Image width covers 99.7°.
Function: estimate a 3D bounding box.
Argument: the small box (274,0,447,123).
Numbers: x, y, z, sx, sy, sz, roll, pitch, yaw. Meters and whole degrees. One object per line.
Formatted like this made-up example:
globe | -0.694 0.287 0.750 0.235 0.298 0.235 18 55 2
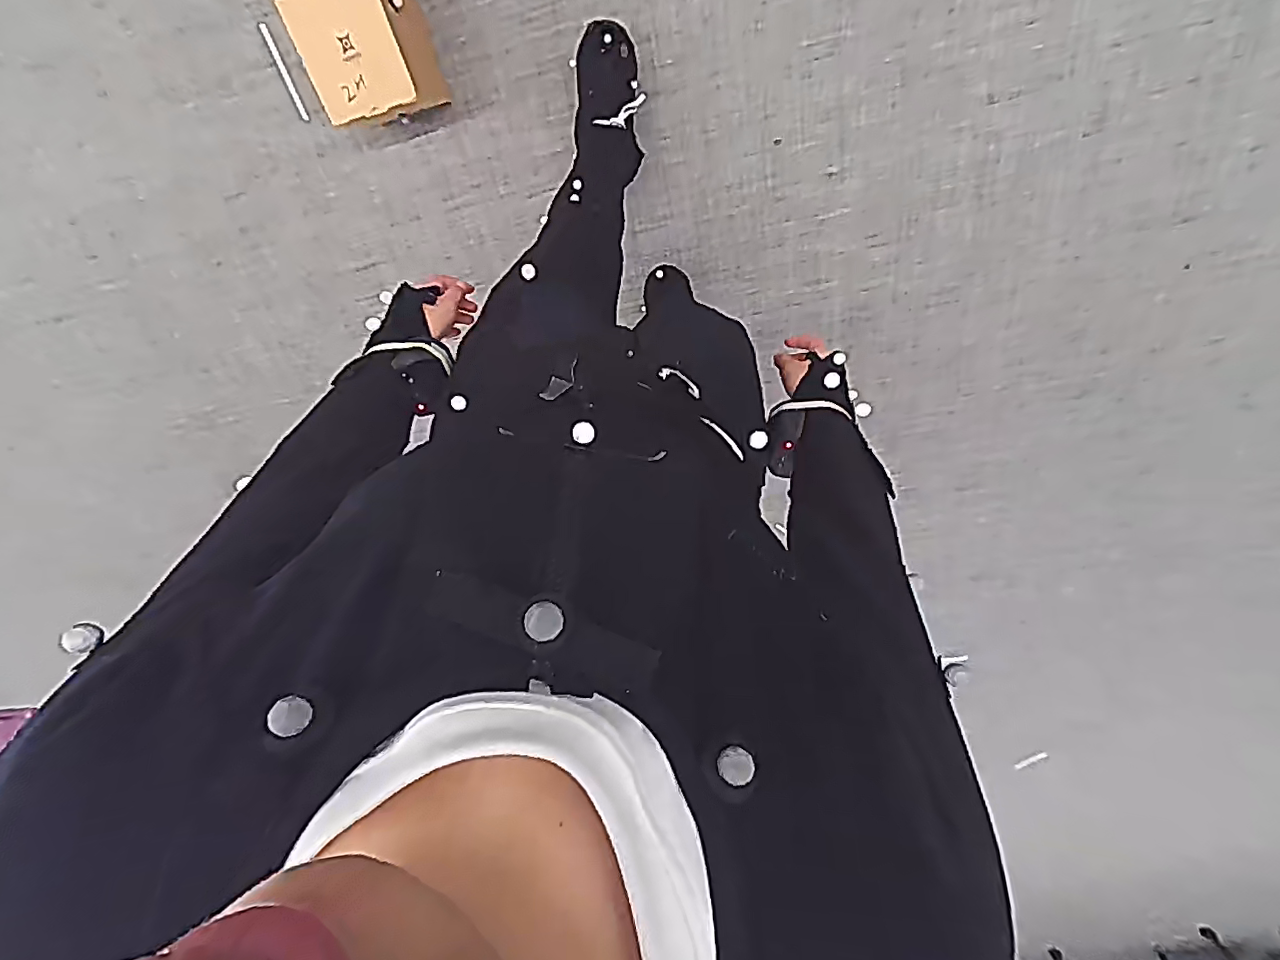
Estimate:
small box | -0.459 -0.728 0.918 0.168 0.176 0.179 -9 124 10
